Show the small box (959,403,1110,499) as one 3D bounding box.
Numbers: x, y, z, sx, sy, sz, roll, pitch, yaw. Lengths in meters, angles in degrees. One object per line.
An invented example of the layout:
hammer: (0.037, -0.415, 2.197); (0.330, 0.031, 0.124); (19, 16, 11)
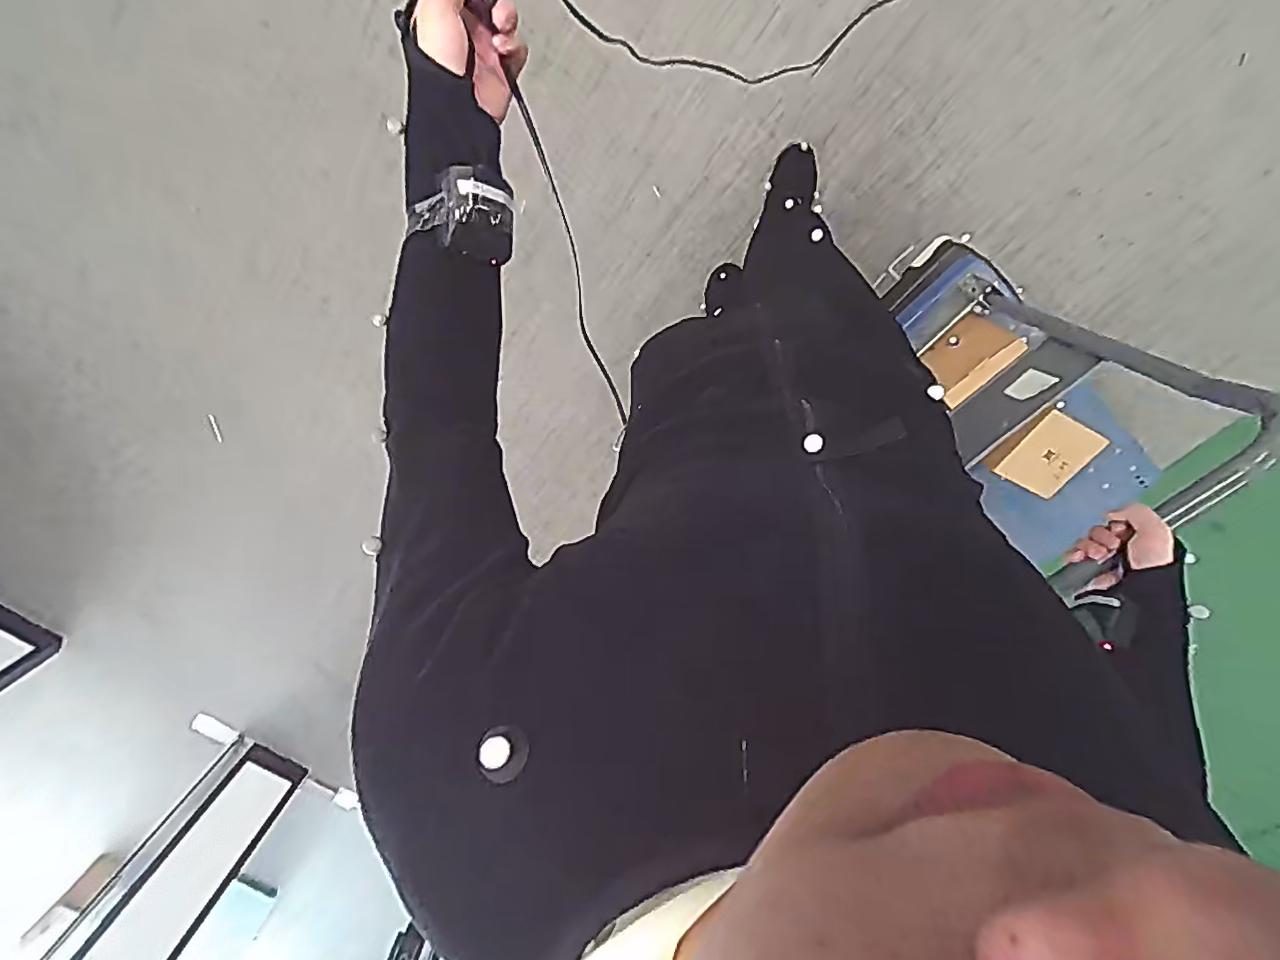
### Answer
small box: (0.864, -0.092, 1.206); (0.179, 0.176, 0.168); (23, 120, -16)

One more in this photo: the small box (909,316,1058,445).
small box: (0.704, -0.212, 1.126); (0.179, 0.176, 0.168); (38, 114, -22)
